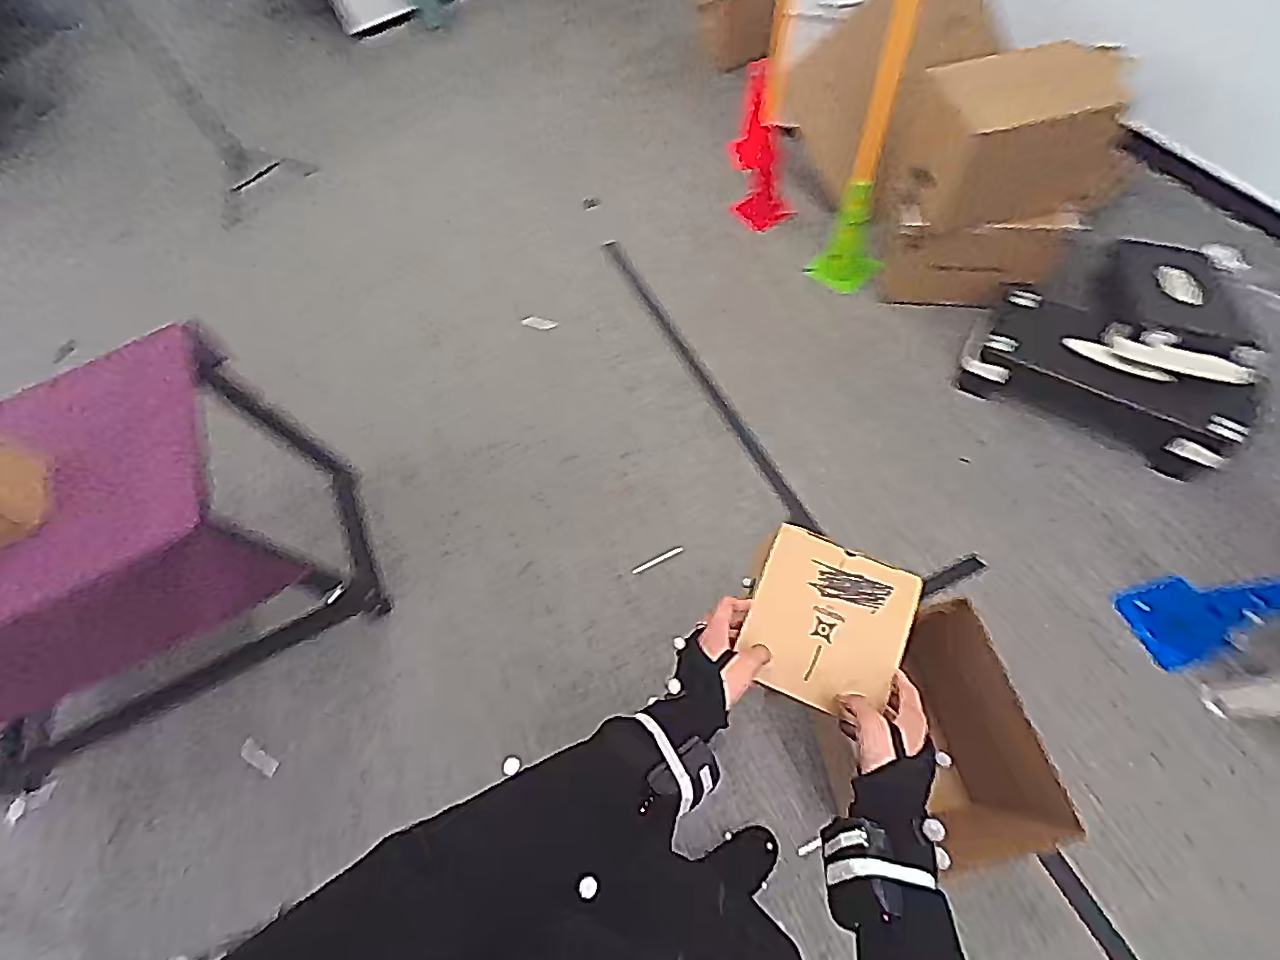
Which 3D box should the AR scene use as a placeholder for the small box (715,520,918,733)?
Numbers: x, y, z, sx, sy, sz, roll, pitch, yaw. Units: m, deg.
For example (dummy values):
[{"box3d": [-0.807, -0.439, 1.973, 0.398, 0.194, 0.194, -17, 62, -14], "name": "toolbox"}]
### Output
[{"box3d": [0.198, 0.173, 0.654, 0.168, 0.176, 0.179, 22, 75, 8], "name": "small box"}]
